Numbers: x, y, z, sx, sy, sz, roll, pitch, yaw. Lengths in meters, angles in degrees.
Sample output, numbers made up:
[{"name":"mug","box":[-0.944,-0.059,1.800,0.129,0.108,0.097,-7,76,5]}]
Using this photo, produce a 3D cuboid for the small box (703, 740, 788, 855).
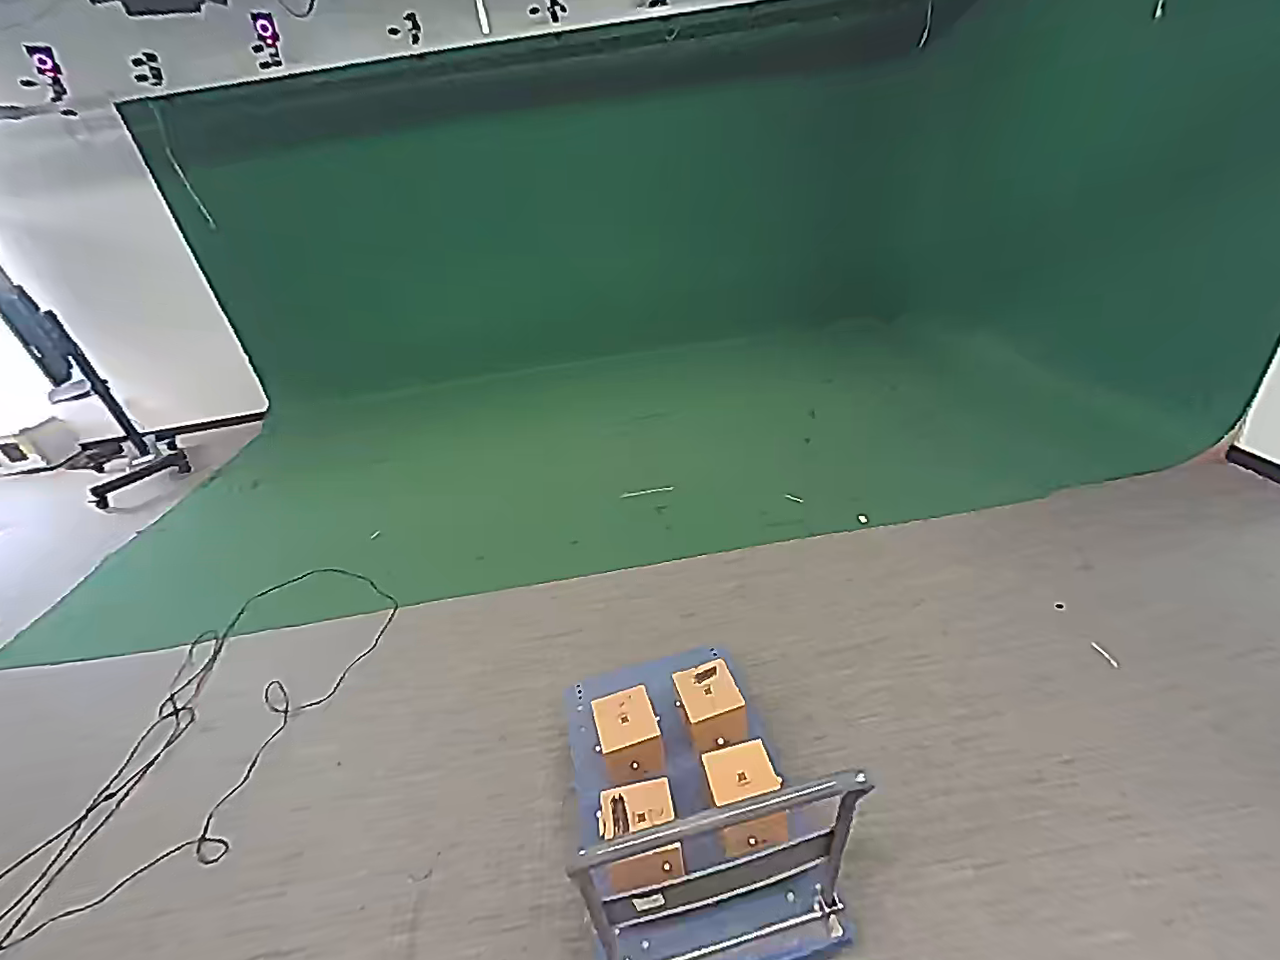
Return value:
[{"name":"small box","box":[0.263,0.809,1.380,0.168,0.176,0.179,-12,32,-6]}]

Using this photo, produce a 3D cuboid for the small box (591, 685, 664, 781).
[{"name":"small box","box":[-0.034,0.737,1.565,0.168,0.176,0.179,-14,32,-10]}]

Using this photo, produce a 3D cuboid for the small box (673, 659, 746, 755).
[{"name":"small box","box":[0.206,0.674,1.608,0.168,0.176,0.179,-15,33,-9]}]
